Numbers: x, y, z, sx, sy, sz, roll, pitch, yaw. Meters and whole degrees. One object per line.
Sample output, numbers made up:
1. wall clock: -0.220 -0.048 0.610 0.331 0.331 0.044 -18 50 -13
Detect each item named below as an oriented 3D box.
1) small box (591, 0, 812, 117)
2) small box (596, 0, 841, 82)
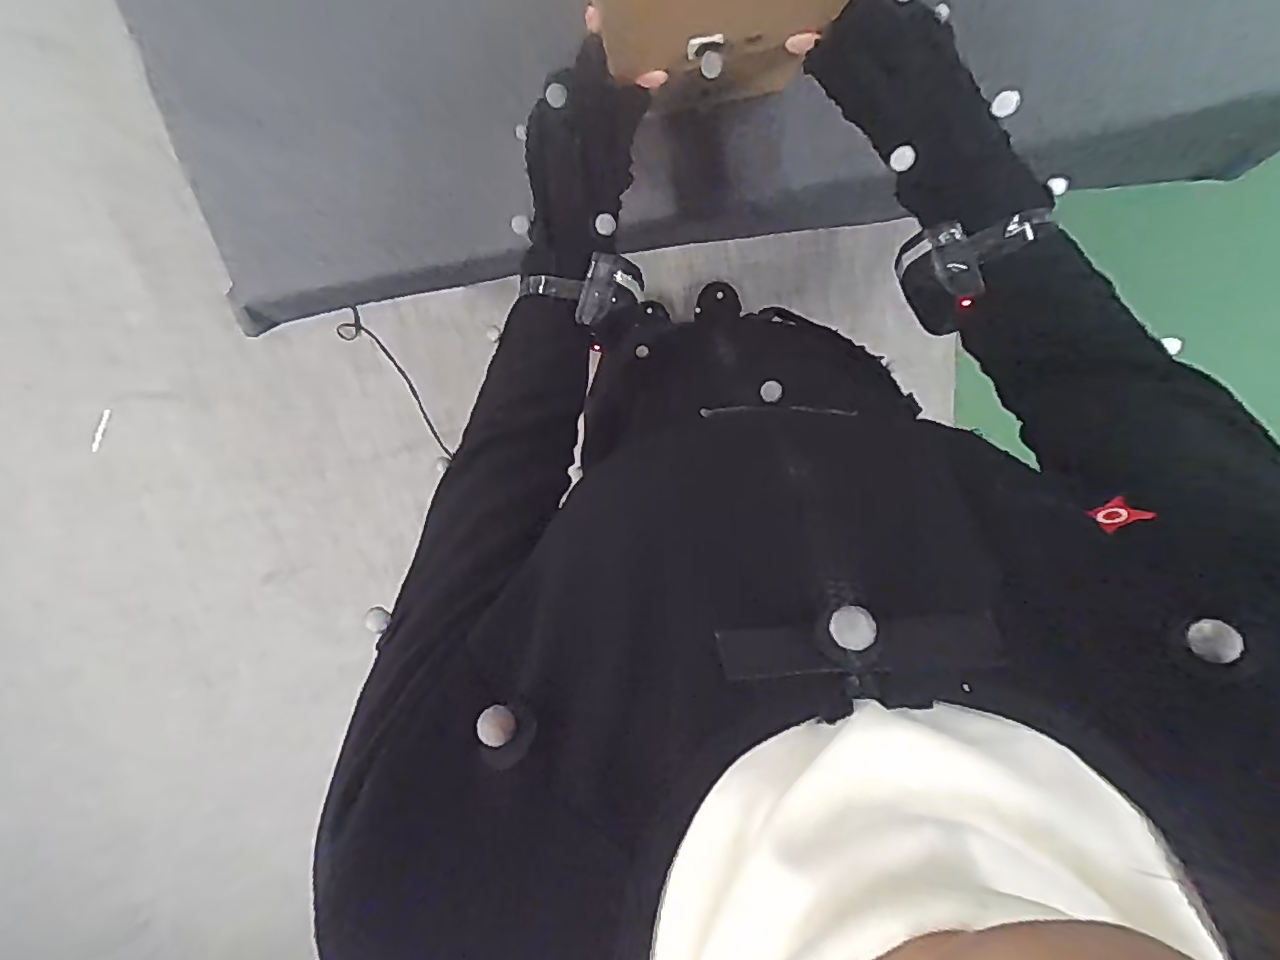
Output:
1. small box: 0.042 -0.438 0.457 0.179 0.176 0.168 -10 108 4
2. small box: 0.040 -0.373 0.308 0.168 0.176 0.179 -11 110 7
